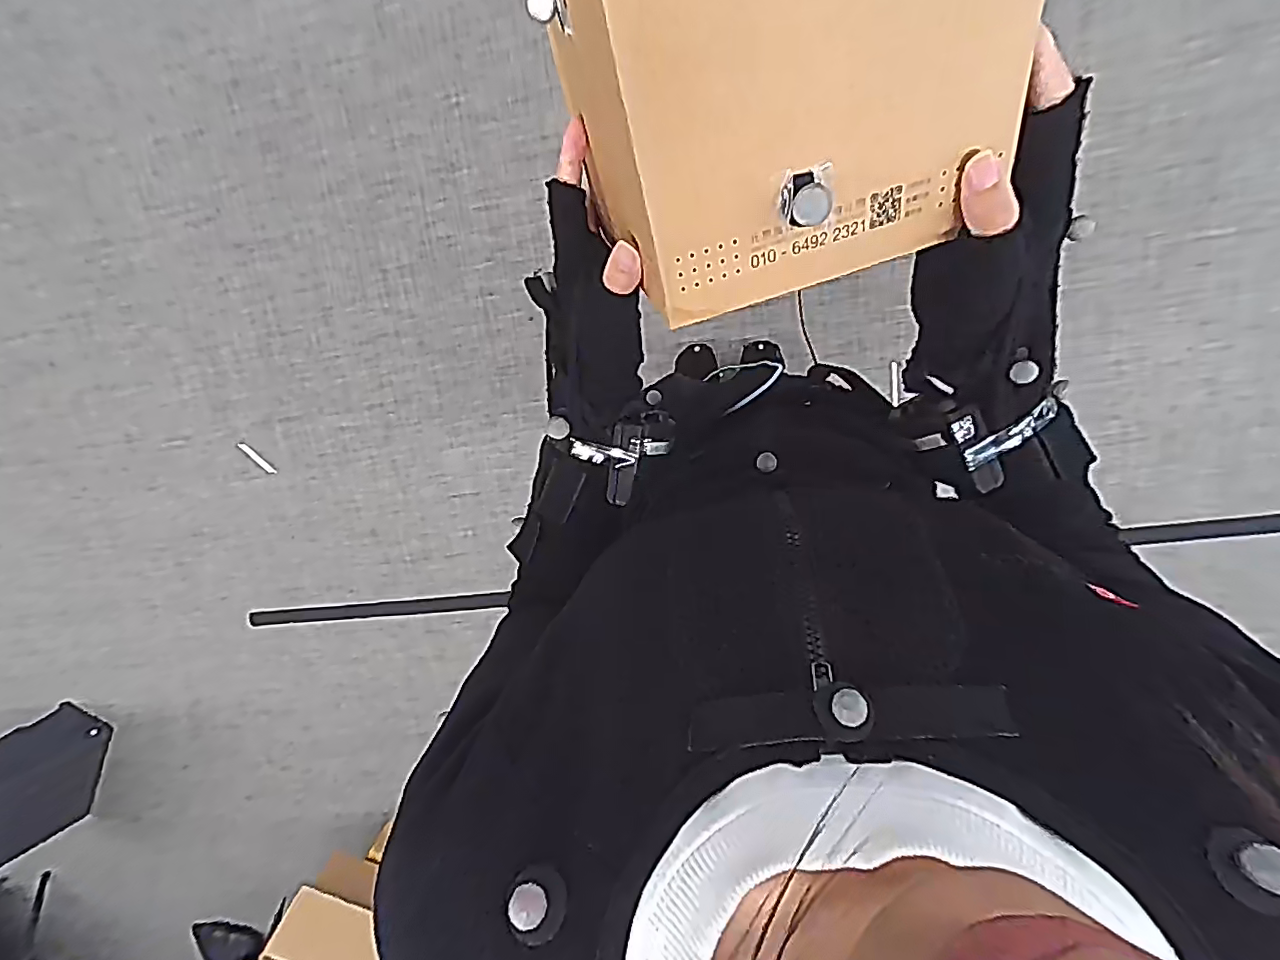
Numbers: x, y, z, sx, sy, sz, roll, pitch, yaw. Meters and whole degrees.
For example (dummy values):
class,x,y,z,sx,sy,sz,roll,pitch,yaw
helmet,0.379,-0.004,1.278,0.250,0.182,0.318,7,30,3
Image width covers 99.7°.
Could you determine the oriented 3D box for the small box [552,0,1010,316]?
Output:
class,x,y,z,sx,sy,sz,roll,pitch,yaw
small box,0.054,-0.208,0.280,0.168,0.179,0.176,-19,130,-1
